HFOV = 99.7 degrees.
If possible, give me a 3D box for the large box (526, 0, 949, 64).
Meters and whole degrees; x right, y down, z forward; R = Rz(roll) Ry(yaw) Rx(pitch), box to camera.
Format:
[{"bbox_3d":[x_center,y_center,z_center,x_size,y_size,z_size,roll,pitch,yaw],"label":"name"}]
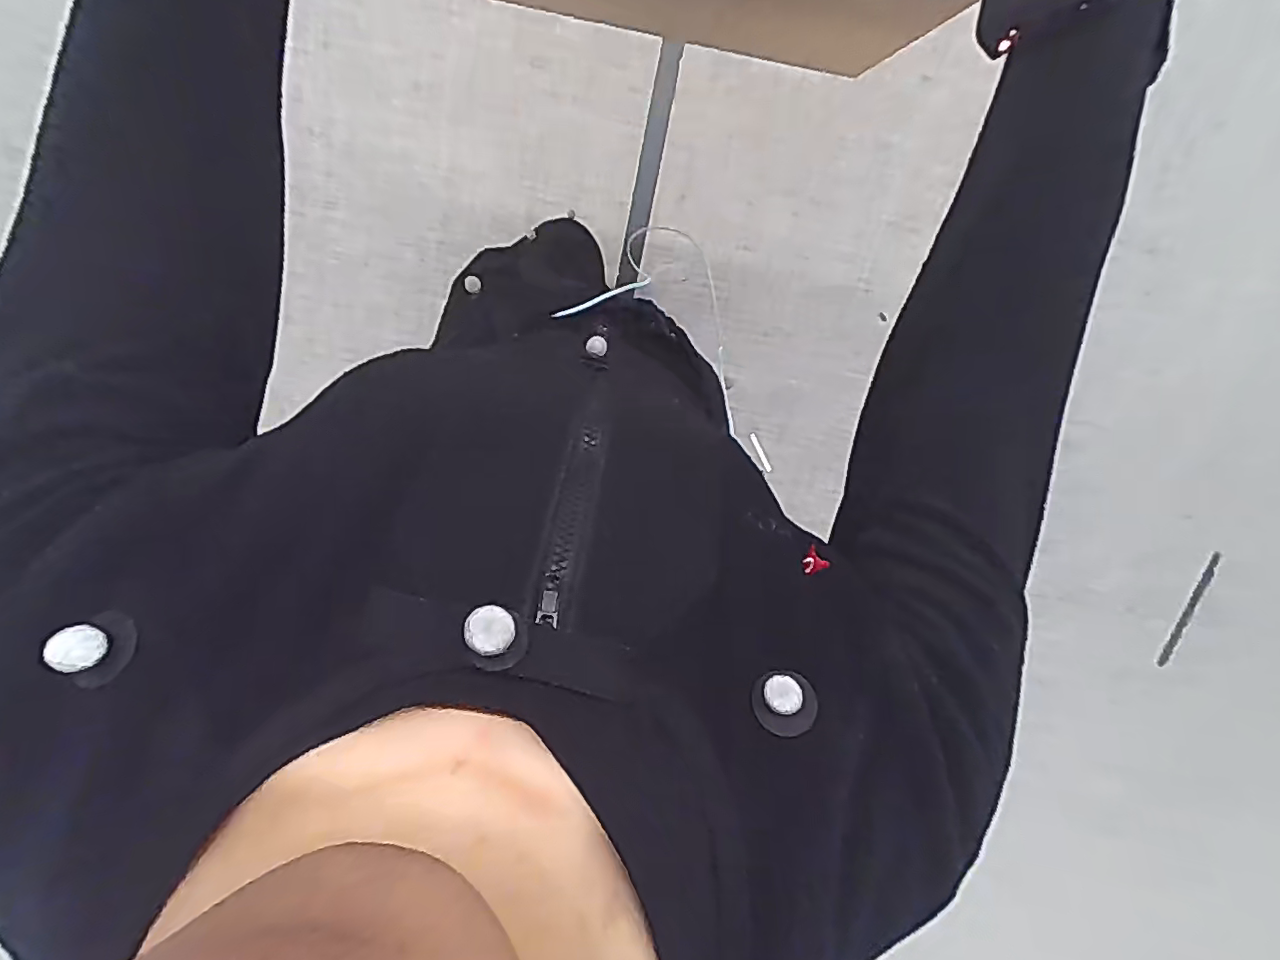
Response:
[{"bbox_3d":[0.065,-0.548,0.381,0.408,0.320,0.320,10,118,-4],"label":"large box"}]
